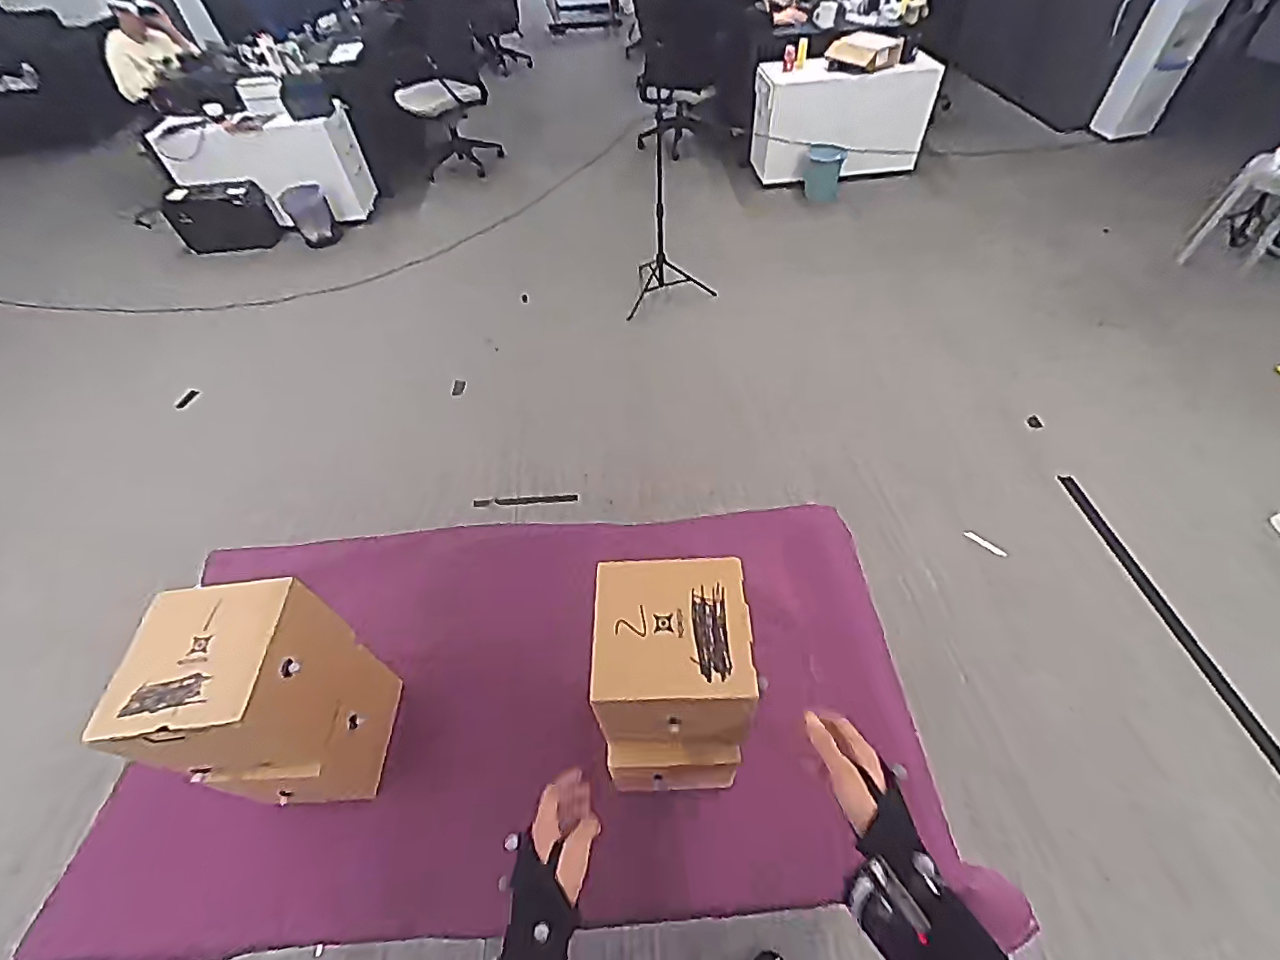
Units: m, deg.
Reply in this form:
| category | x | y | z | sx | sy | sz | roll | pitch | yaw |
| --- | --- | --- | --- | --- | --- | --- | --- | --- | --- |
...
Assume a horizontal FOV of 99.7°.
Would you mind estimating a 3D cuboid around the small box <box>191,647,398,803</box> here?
| category | x | y | z | sx | sy | sz | roll | pitch | yaw |
| --- | --- | --- | --- | --- | --- | --- | --- | --- | --- |
| small box | -0.478 | 0.361 | 0.786 | 0.168 | 0.176 | 0.179 | -2 | 51 | 1 |

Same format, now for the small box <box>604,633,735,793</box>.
| category | x | y | z | sx | sy | sz | roll | pitch | yaw |
| --- | --- | --- | --- | --- | --- | --- | --- | --- | --- |
| small box | 0.041 | 0.339 | 0.775 | 0.168 | 0.176 | 0.179 | -3 | 50 | 2 |

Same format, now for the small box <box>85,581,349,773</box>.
| category | x | y | z | sx | sy | sz | roll | pitch | yaw |
| --- | --- | --- | --- | --- | --- | --- | --- | --- | --- |
| small box | -0.491 | 0.248 | 0.667 | 0.168 | 0.176 | 0.179 | -6 | 50 | -2 |
